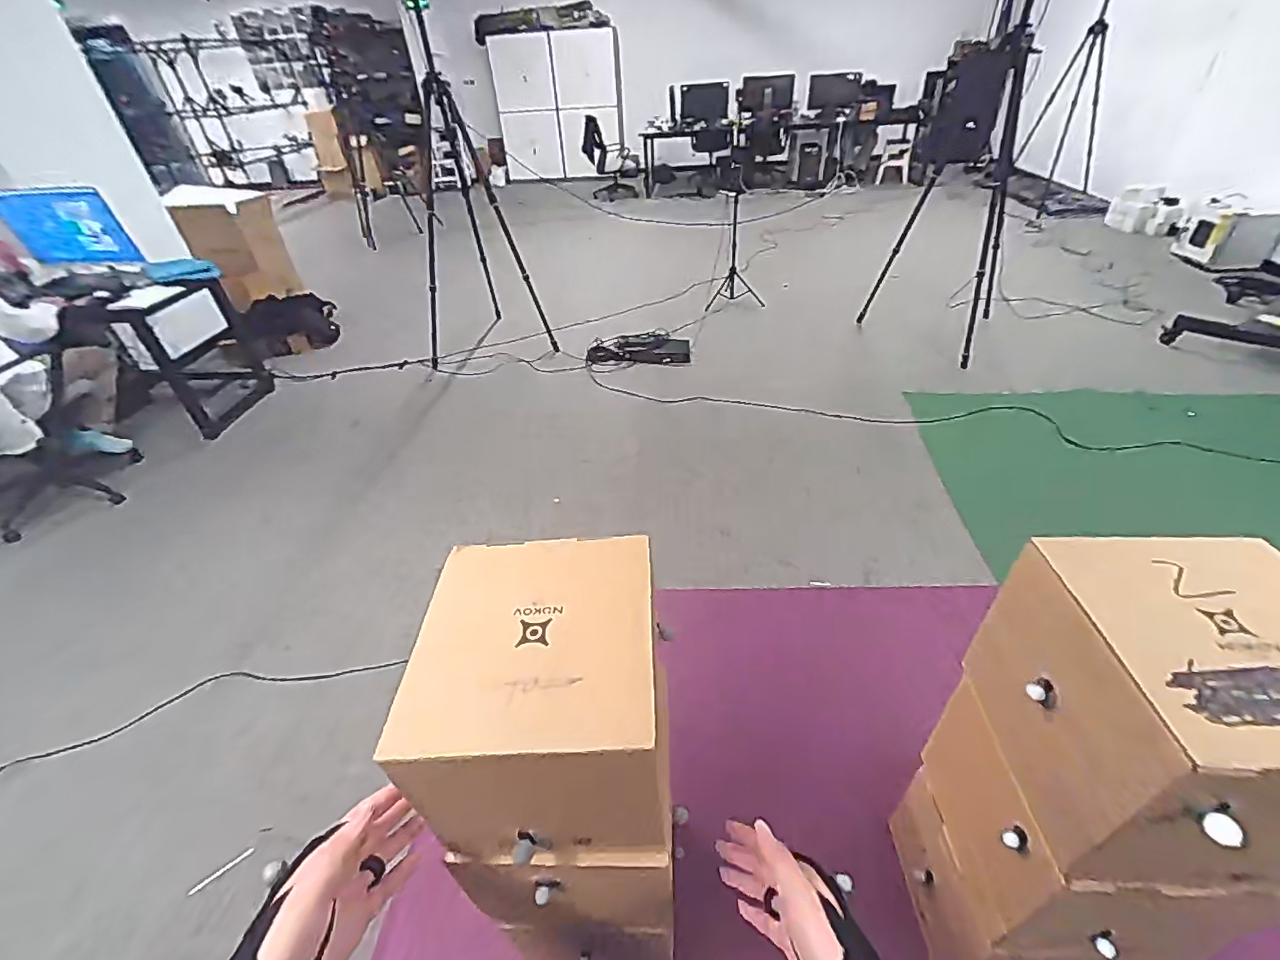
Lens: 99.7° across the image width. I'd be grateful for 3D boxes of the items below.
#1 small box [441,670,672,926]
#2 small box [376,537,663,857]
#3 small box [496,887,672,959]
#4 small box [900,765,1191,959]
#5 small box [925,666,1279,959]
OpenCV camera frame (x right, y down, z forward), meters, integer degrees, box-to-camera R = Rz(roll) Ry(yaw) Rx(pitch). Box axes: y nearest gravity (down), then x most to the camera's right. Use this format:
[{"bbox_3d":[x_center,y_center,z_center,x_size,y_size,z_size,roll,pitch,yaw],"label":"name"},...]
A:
[{"bbox_3d":[-0.059,0.301,0.517,0.179,0.176,0.168,-1,38,3],"label":"small box"},{"bbox_3d":[-0.069,0.166,0.426,0.168,0.176,0.179,-3,38,3],"label":"small box"},{"bbox_3d":[-0.048,0.430,0.618,0.168,0.176,0.179,-1,37,4],"label":"small box"},{"bbox_3d":[0.398,0.425,0.579,0.179,0.176,0.168,-3,38,4],"label":"small box"},{"bbox_3d":[0.385,0.292,0.485,0.168,0.176,0.179,-1,38,4],"label":"small box"}]
